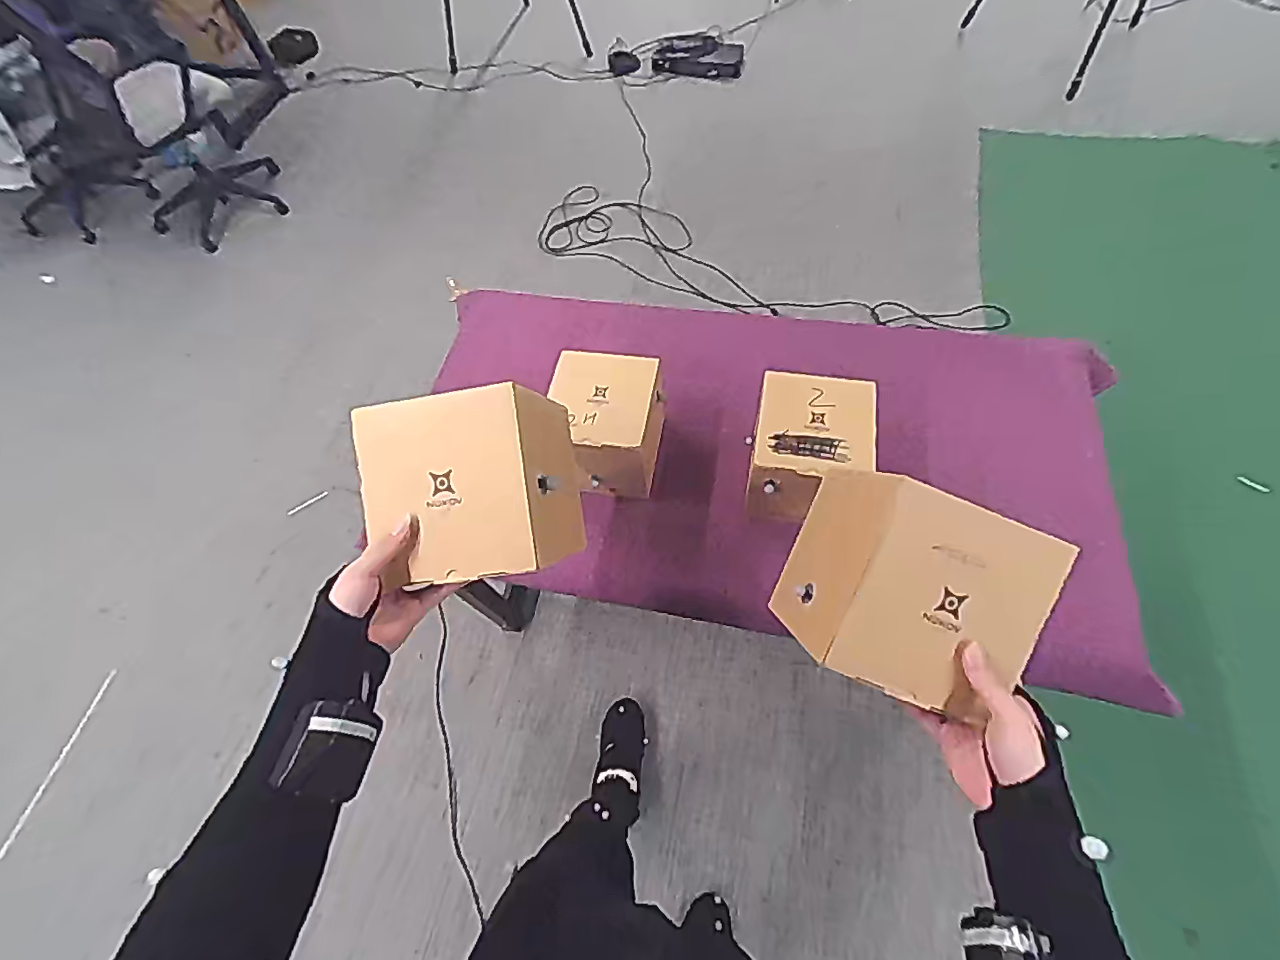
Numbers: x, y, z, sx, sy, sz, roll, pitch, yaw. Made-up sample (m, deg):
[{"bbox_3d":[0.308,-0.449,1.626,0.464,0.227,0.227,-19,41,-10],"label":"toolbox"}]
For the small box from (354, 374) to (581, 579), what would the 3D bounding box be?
[{"bbox_3d":[-0.168,-0.001,0.573,0.168,0.176,0.179,-7,90,8],"label":"small box"}]

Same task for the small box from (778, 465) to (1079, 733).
[{"bbox_3d":[0.251,0.097,0.524,0.168,0.176,0.179,23,93,-3],"label":"small box"}]

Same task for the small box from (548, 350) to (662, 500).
[{"bbox_3d":[-0.057,-0.088,0.901,0.168,0.176,0.179,7,63,9],"label":"small box"}]
